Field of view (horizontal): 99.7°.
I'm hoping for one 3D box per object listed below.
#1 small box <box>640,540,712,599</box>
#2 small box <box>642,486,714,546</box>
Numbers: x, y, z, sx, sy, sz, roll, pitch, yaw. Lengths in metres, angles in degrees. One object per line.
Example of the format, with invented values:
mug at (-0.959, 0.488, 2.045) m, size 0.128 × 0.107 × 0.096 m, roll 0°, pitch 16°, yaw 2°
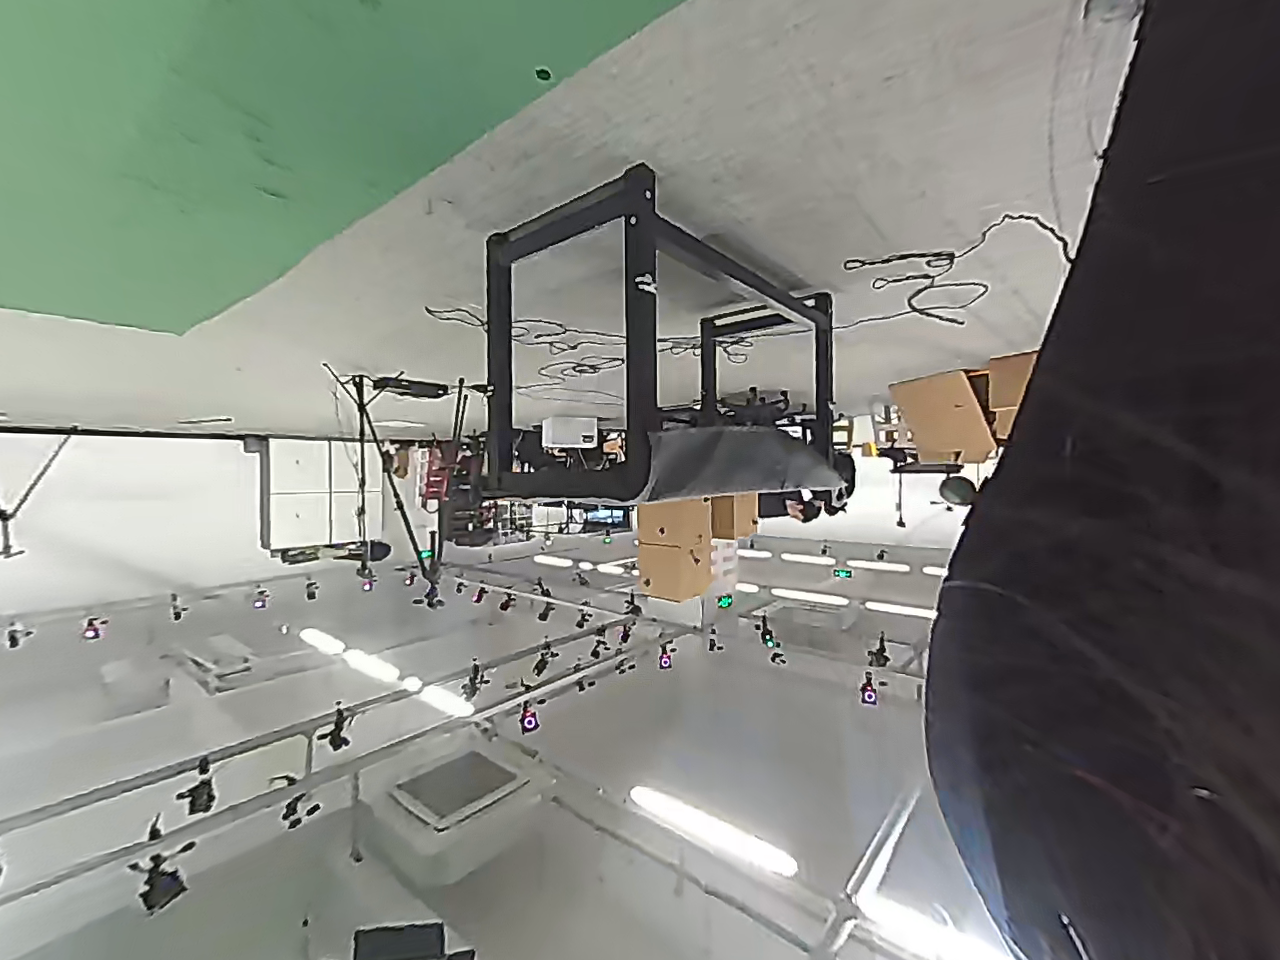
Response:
small box at (0.116, 0.271, 1.728) m, size 0.179 × 0.176 × 0.168 m, roll -1°, pitch -179°, yaw 42°
small box at (0.117, 0.108, 1.706) m, size 0.179 × 0.176 × 0.168 m, roll 1°, pitch -178°, yaw 41°
